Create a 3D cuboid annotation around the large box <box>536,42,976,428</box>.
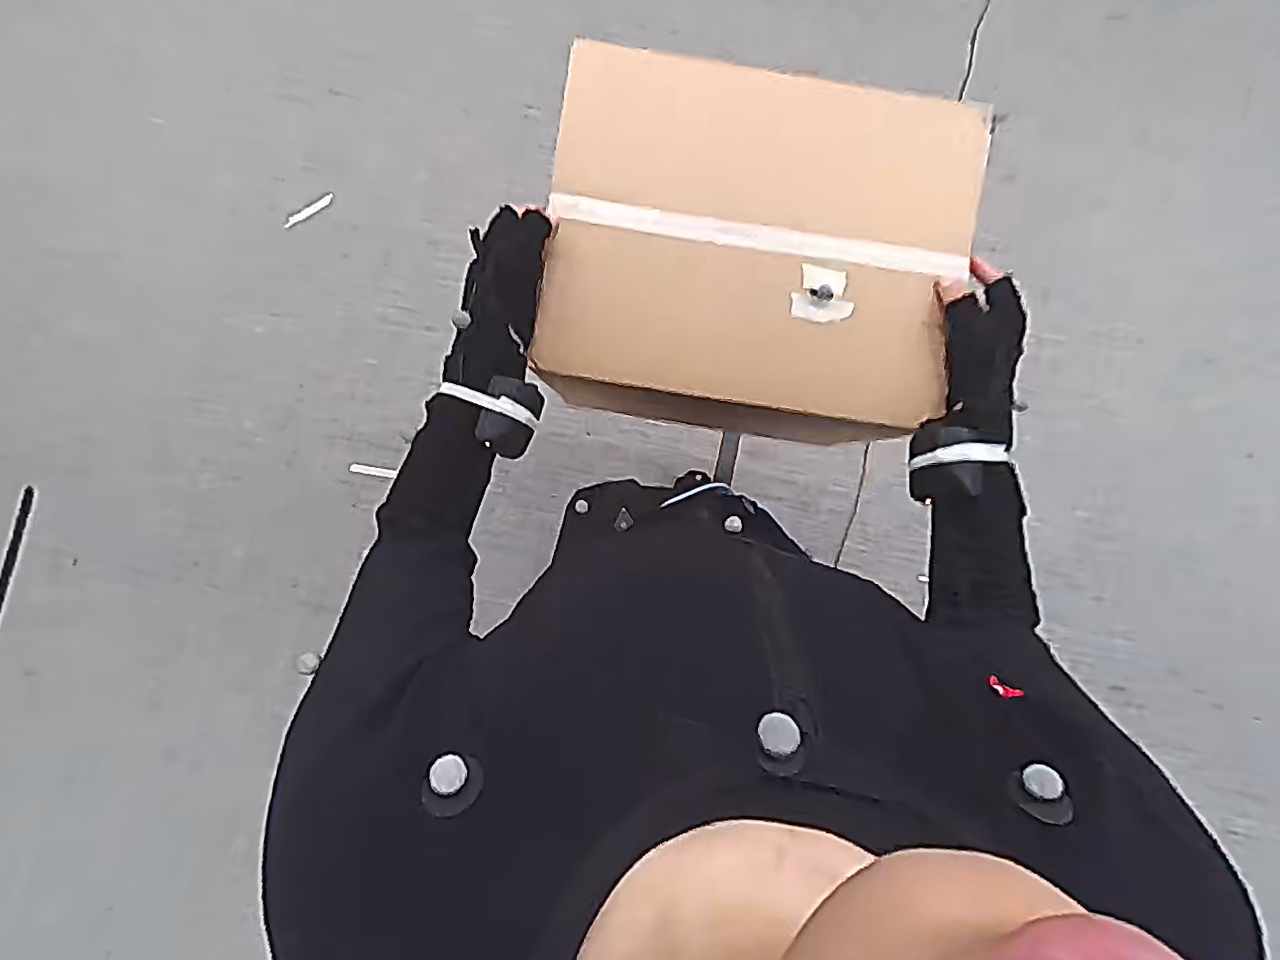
[{"bbox_3d":[0.108,-0.251,0.676,0.408,0.320,0.320,9,93,-1],"label":"large box"}]
